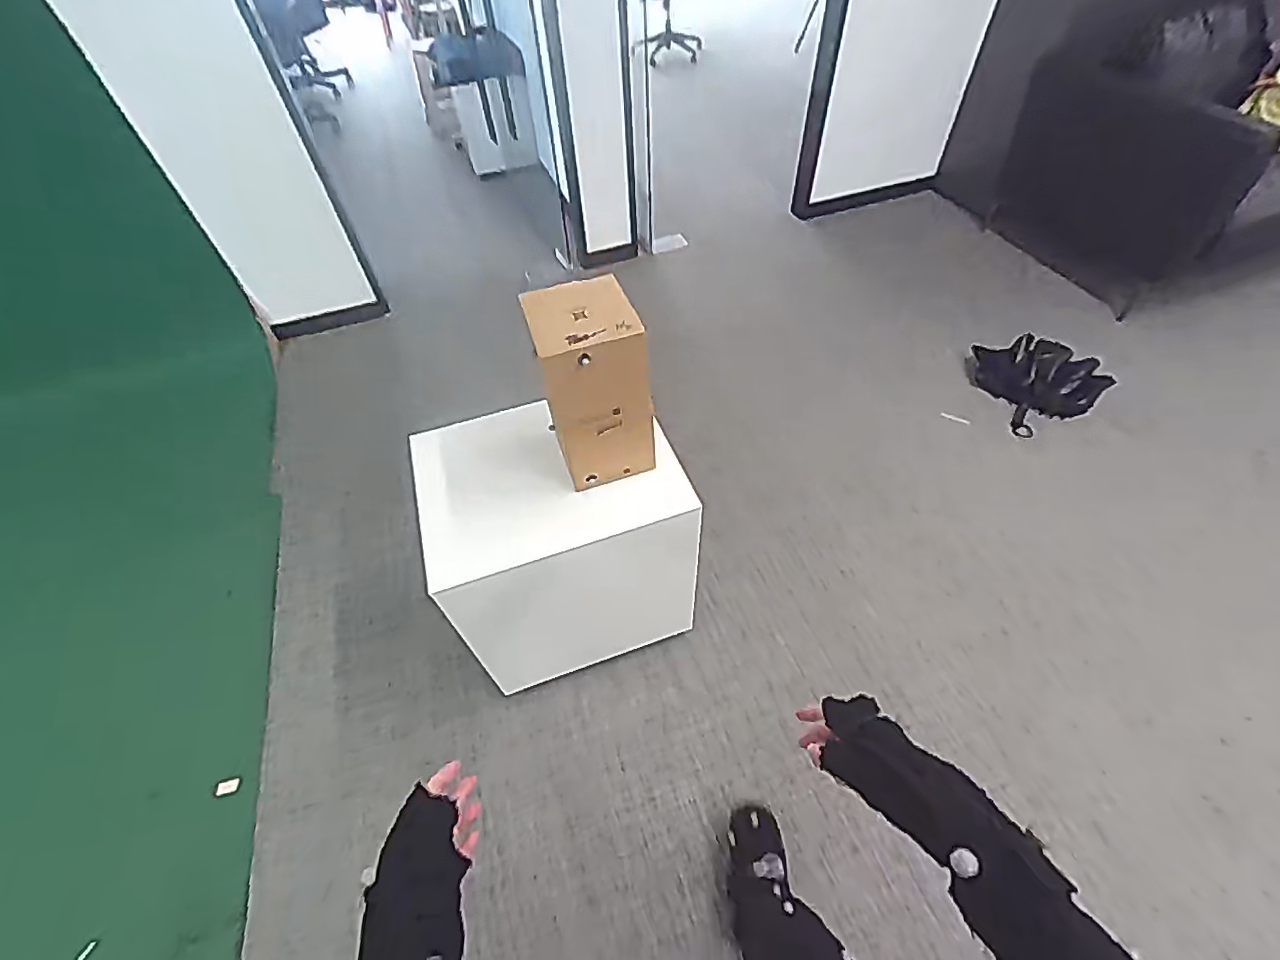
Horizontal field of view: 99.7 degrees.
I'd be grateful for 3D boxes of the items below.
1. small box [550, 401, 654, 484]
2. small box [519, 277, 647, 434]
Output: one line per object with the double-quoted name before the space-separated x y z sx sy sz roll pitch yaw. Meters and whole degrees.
"small box" -0.078 -0.112 1.043 0.168 0.176 0.179 -18 52 -10
"small box" -0.092 -0.208 0.911 0.168 0.176 0.179 -17 52 -9
